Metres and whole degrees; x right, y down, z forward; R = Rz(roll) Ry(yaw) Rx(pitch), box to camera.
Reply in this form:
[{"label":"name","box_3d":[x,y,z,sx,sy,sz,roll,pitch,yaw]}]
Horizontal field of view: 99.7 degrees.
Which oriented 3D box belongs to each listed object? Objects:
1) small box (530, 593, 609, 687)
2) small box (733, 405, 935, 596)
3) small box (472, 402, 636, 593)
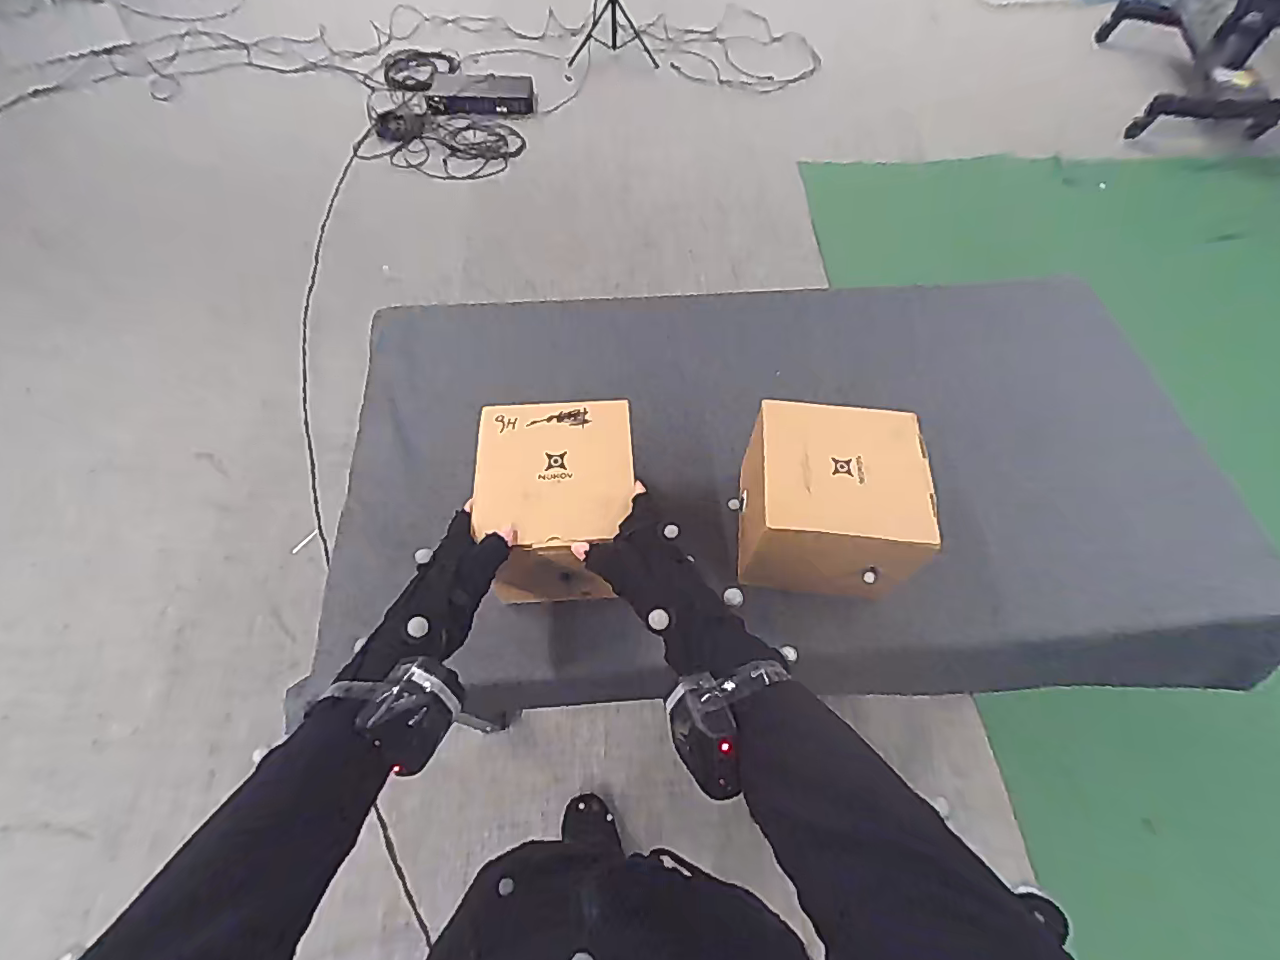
[{"label":"small box","box_3d":[-0.162,0.383,1.276,0.168,0.176,0.179,-6,61,-5]},{"label":"small box","box_3d":[0.216,0.032,0.649,0.179,0.176,0.168,5,60,2]},{"label":"small box","box_3d":[-0.089,0.029,0.639,0.168,0.176,0.179,-2,61,-3]}]
